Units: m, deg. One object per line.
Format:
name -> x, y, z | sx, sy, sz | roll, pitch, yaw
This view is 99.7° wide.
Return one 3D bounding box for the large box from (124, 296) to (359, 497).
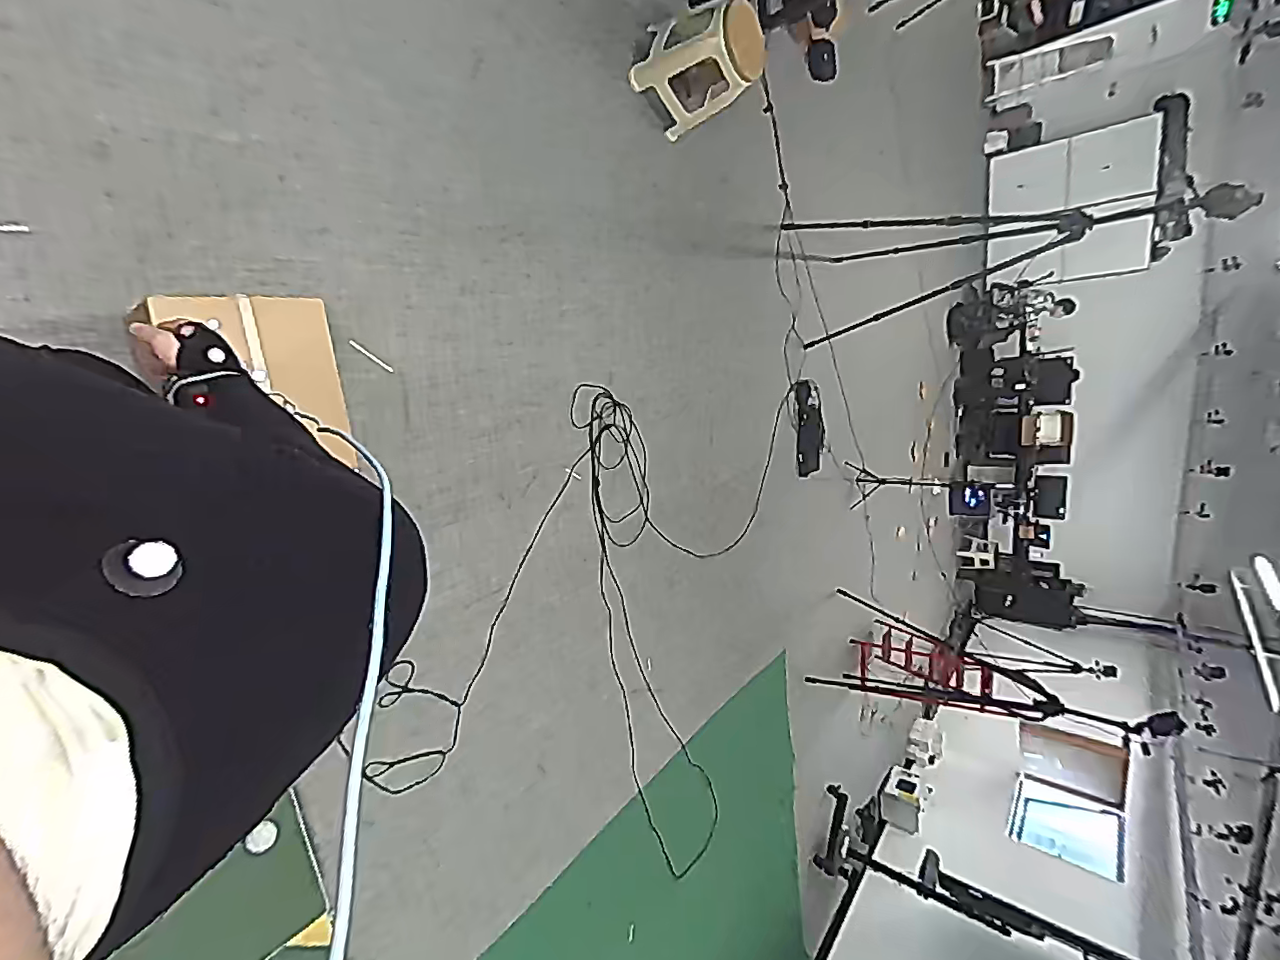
large box -> -0.924, -0.204, 1.268 | 0.320, 0.320, 0.408 | -20, 110, -46
